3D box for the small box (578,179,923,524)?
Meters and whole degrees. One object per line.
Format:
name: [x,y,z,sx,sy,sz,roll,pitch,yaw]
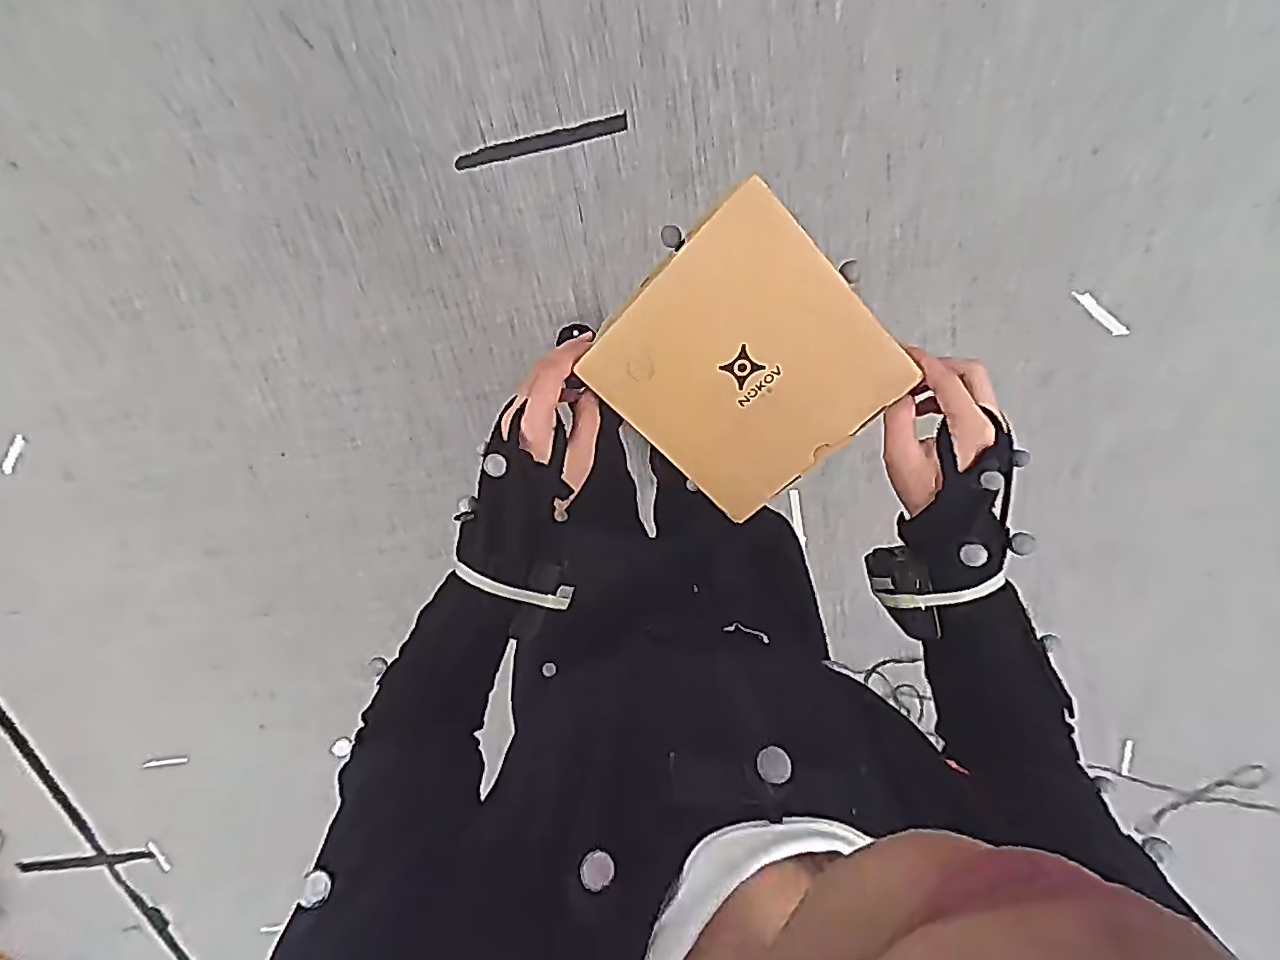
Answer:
small box: [0.076,-0.105,0.434,0.179,0.176,0.168,41,112,-17]
